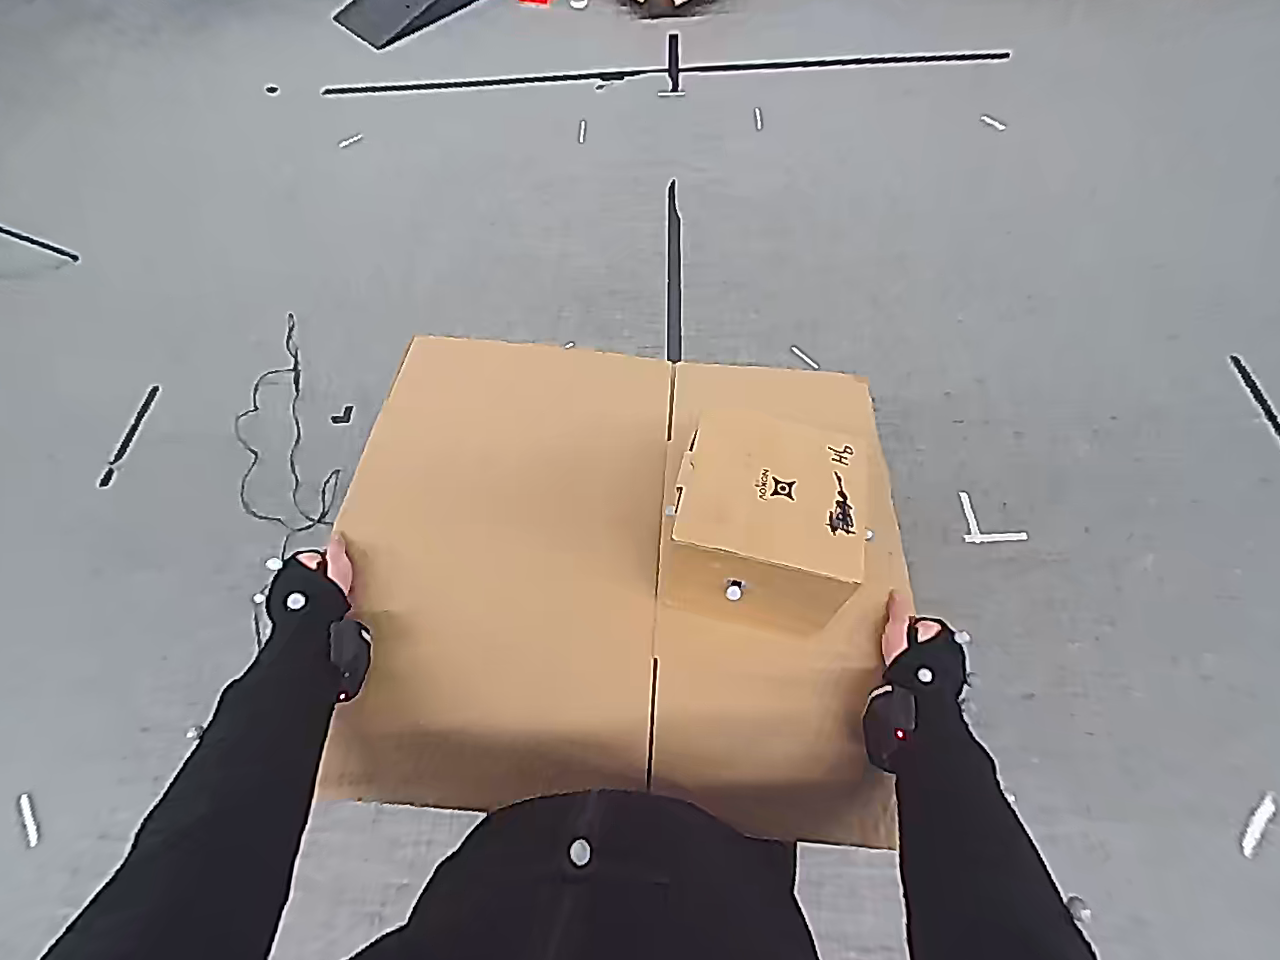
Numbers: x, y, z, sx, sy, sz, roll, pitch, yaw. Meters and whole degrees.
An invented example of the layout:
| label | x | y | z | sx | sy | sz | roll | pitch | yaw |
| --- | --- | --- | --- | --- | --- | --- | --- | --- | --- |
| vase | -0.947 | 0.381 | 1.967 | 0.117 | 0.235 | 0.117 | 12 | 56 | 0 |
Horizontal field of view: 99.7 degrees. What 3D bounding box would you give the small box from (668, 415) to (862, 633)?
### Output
| label | x | y | z | sx | sy | sz | roll | pitch | yaw |
| --- | --- | --- | --- | --- | --- | --- | --- | --- | --- |
| small box | 0.130 | 0.055 | 0.601 | 0.179 | 0.176 | 0.168 | 11 | 58 | 8 |
